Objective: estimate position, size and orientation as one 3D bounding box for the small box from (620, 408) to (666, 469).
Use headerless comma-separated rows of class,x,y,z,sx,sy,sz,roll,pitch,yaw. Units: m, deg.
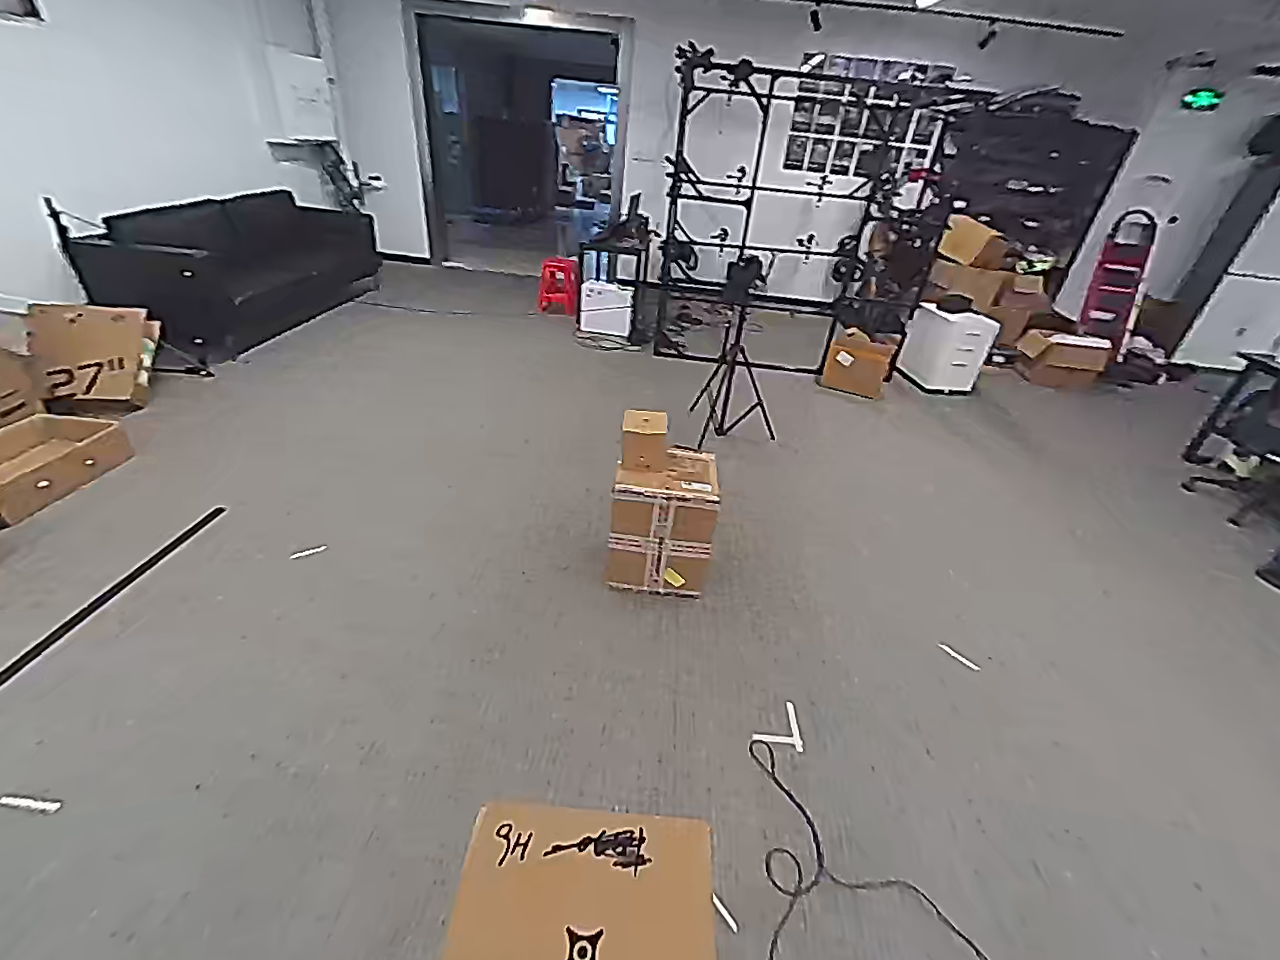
small box,0.010,-0.160,2.087,0.168,0.176,0.179,4,35,1
